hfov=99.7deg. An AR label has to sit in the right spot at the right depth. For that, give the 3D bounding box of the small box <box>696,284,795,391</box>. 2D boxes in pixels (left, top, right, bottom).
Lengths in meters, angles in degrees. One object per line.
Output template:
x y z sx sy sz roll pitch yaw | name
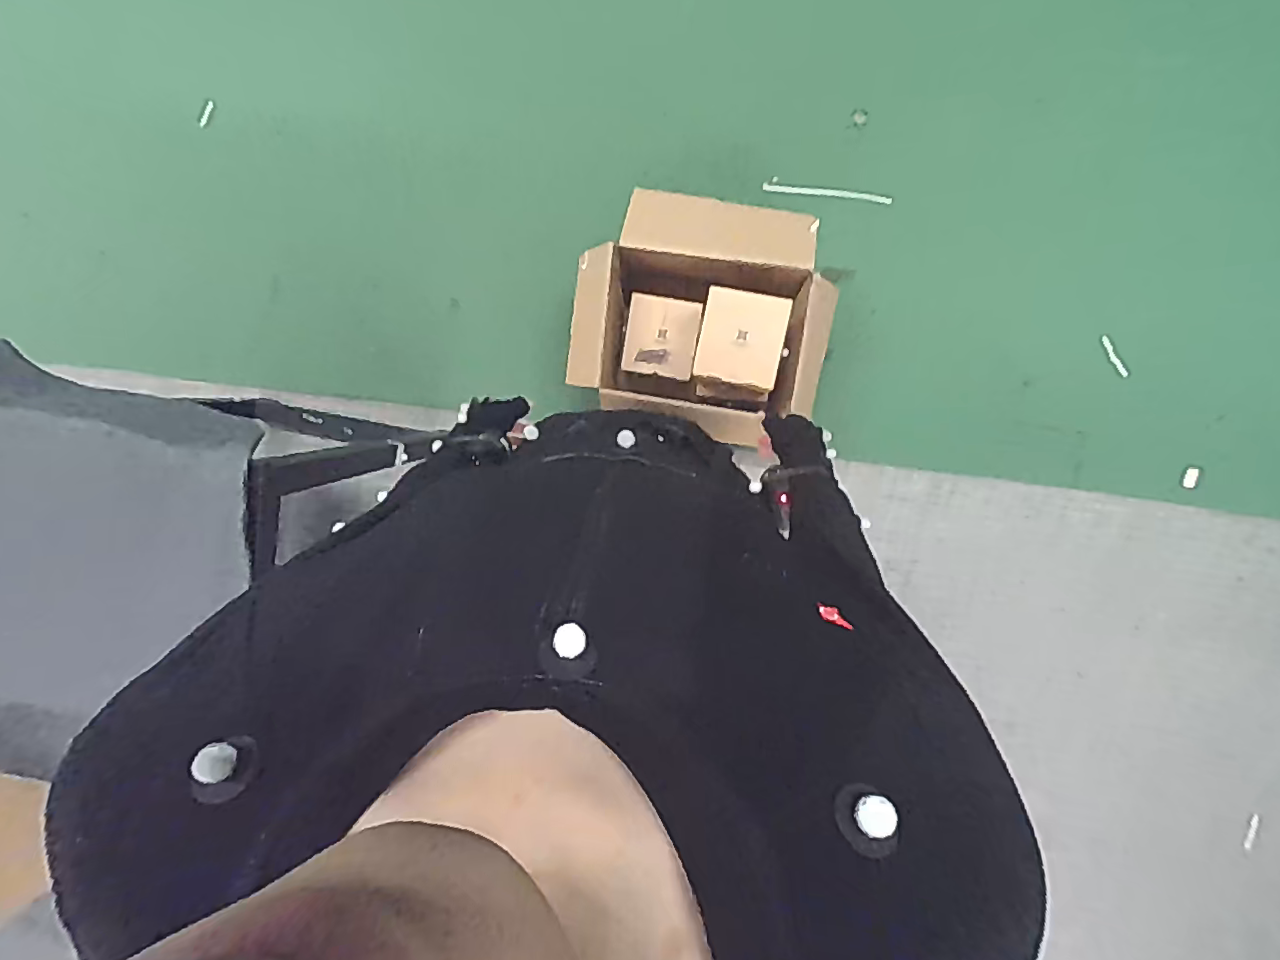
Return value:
0.215 -0.294 1.145 0.168 0.176 0.179 12 98 6 | small box
